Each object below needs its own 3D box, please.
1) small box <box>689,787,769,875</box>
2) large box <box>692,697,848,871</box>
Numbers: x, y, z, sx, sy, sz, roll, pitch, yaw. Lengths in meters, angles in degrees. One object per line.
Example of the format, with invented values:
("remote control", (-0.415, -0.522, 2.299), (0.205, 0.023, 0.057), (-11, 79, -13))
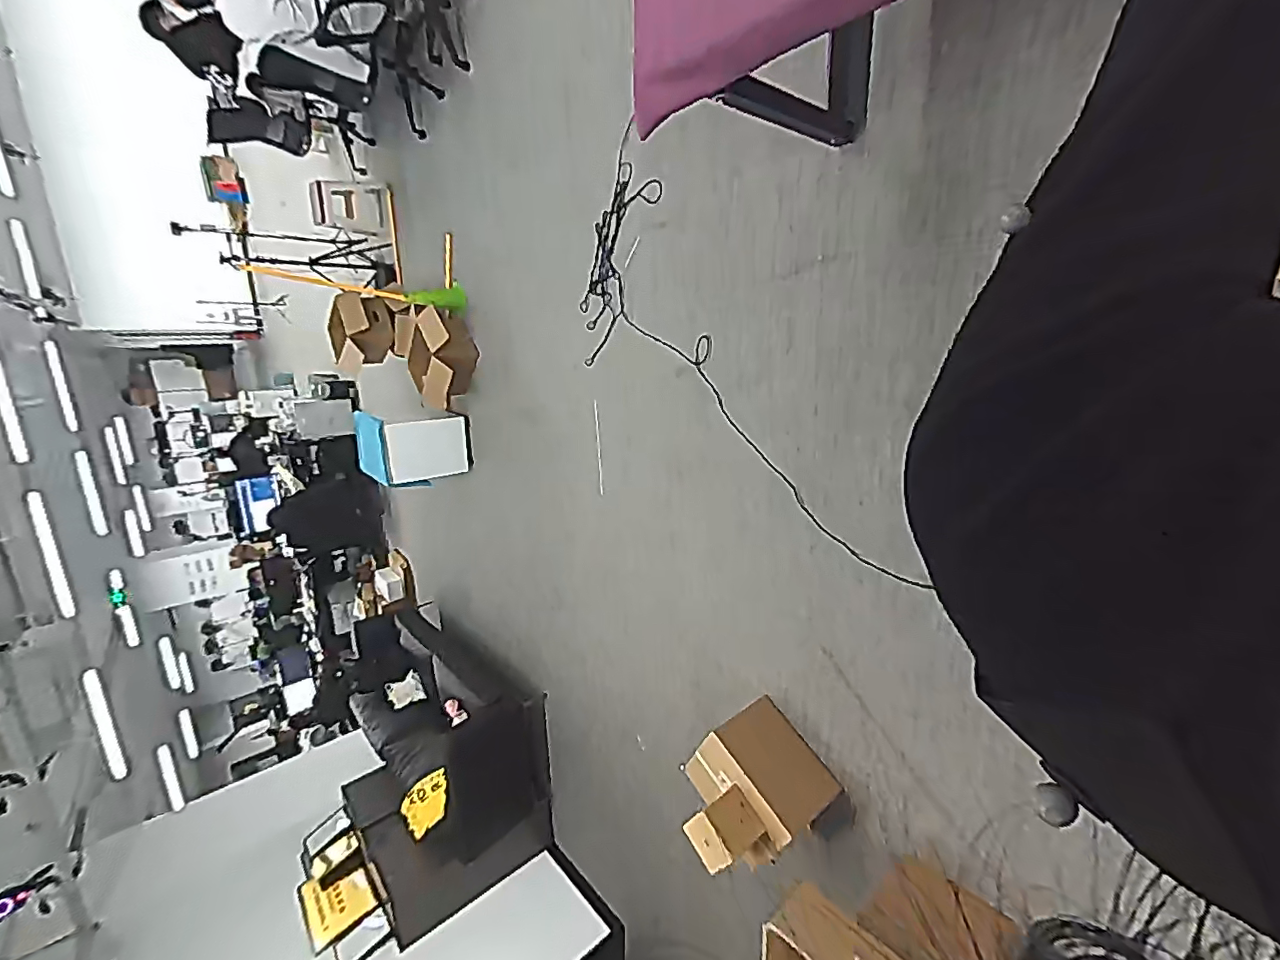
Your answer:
("small box", (0.302, 1.178, 1.822), (0.168, 0.176, 0.179), (51, 136, 30))
("large box", (0.466, 1.099, 1.987), (0.408, 0.320, 0.320), (48, 134, 34))
